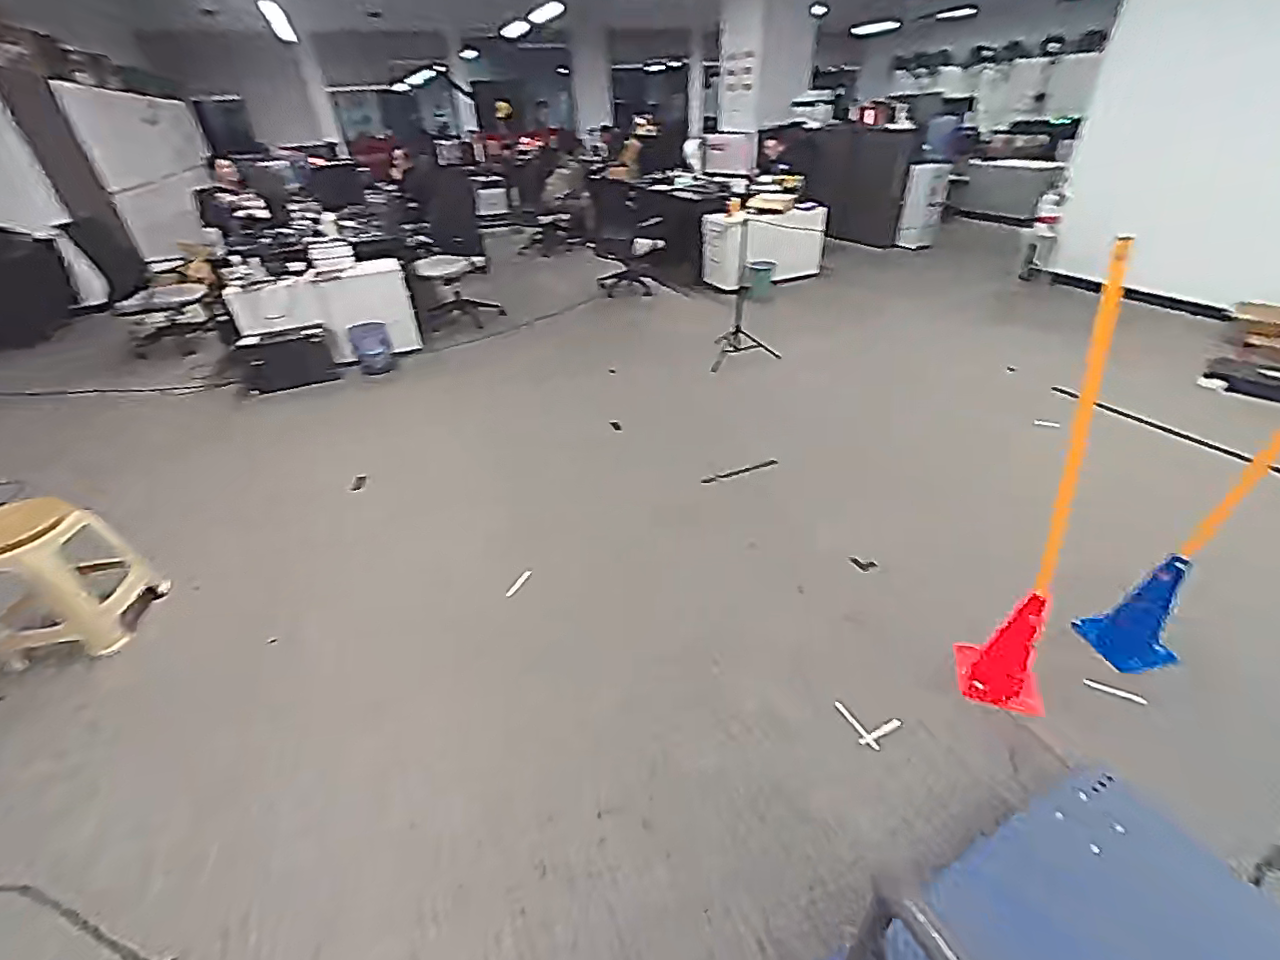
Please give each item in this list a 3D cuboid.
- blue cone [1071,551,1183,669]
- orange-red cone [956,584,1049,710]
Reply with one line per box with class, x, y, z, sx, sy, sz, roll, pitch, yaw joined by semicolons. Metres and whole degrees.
blue cone;1.451;0.349;1.551;0.192;0.380;0.193;-9;35;-6
orange-red cone;1.021;0.418;1.465;0.199;0.360;0.198;11;38;18
